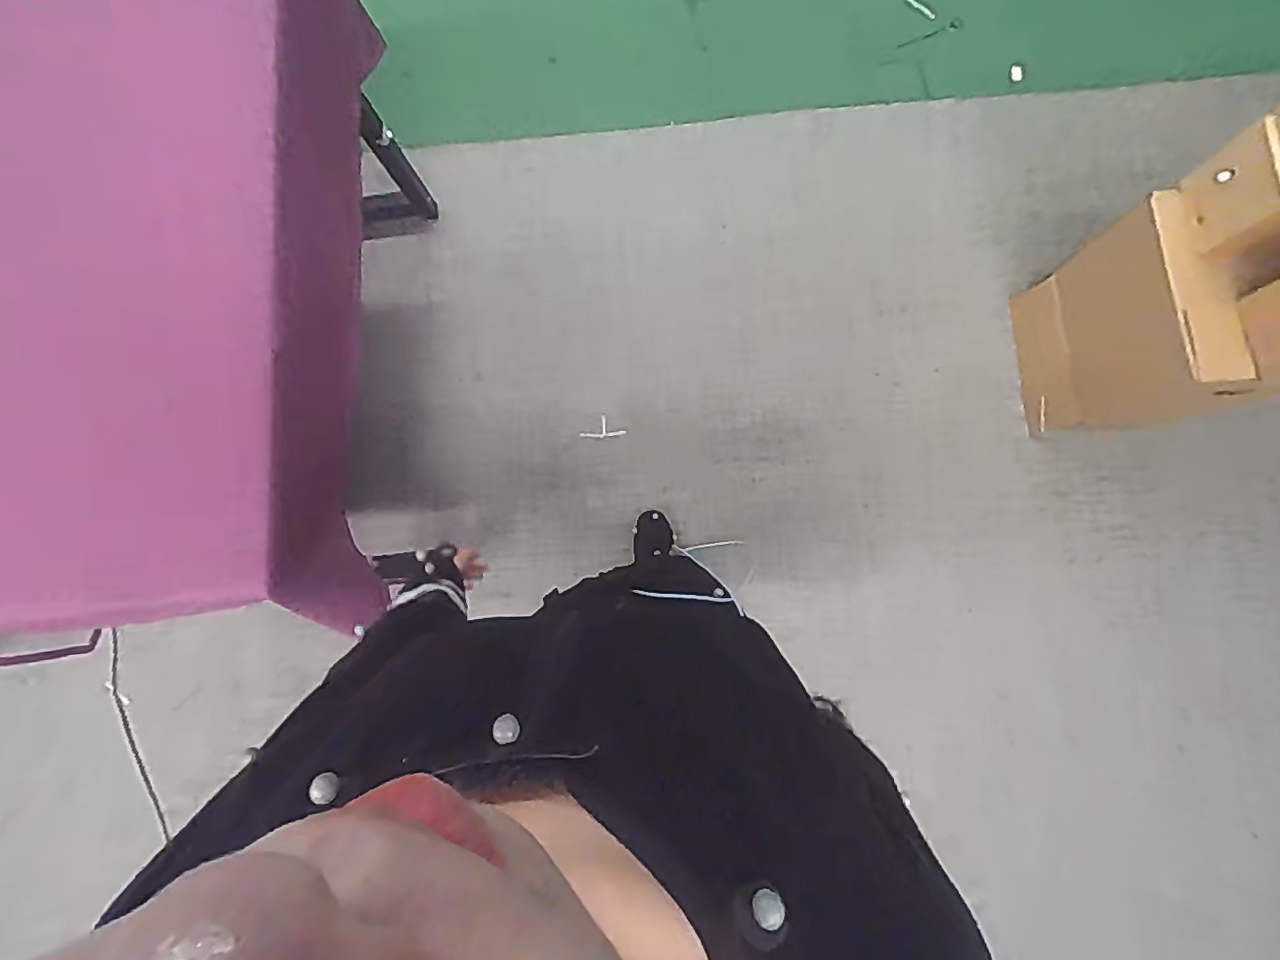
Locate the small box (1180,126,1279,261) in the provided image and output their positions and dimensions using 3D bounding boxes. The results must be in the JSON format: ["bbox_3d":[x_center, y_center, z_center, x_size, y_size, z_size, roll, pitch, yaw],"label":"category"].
[{"bbox_3d":[1.175,-0.529,1.014,0.179,0.176,0.168,-2,82,2],"label":"small box"}]

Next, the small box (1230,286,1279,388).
[{"bbox_3d":[1.243,-0.272,0.972,0.168,0.176,0.179,-4,79,1],"label":"small box"}]
